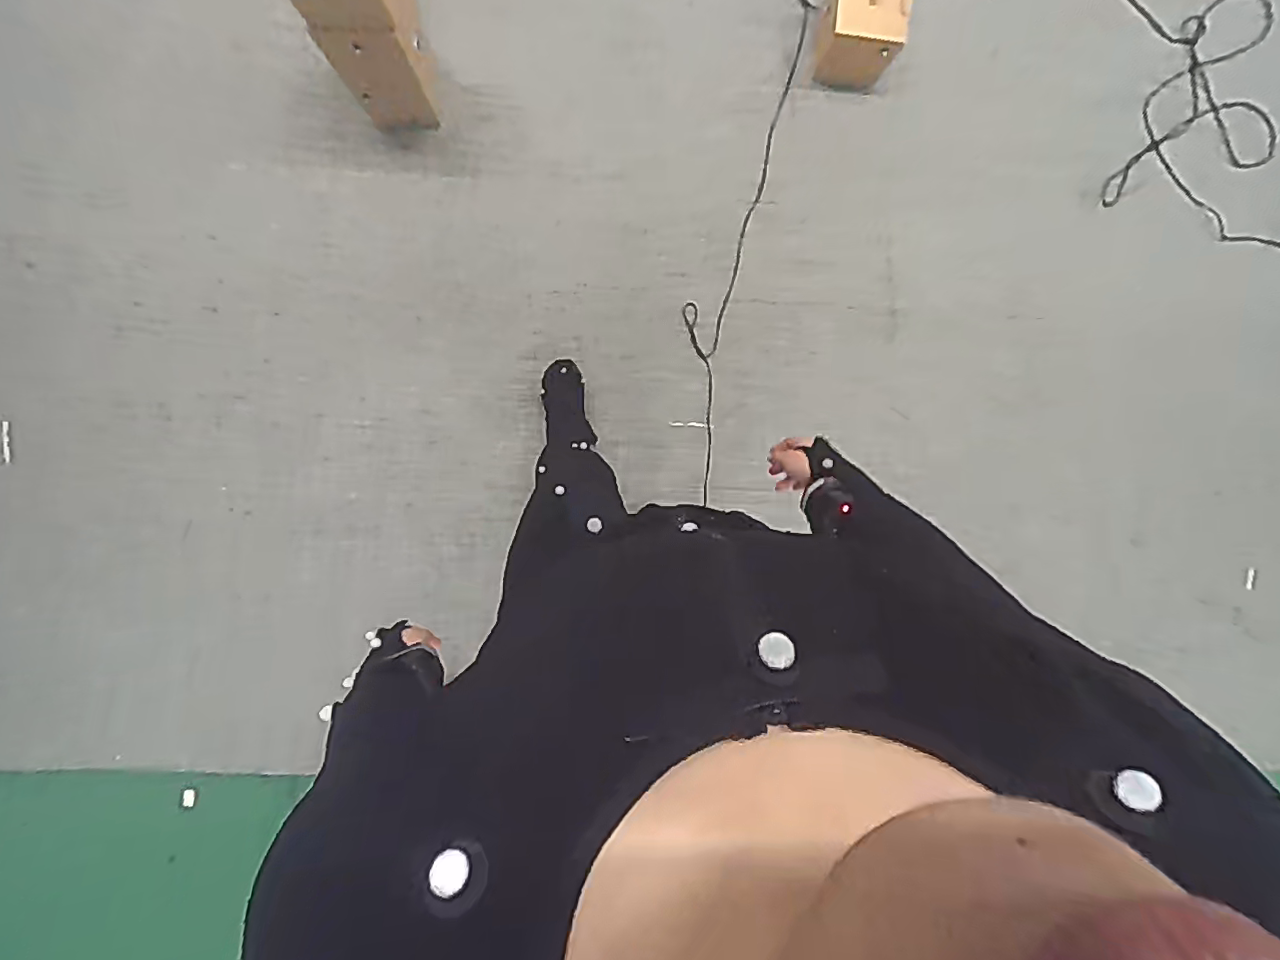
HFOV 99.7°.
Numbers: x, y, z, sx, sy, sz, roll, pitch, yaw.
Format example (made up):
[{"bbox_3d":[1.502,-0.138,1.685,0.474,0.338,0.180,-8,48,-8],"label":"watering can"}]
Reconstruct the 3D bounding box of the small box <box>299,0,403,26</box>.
[{"bbox_3d":[-0.542,-0.954,0.959,0.179,0.176,0.168,0,95,-3],"label":"small box"}]

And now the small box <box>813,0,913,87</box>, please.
[{"bbox_3d":[0.545,-1.114,1.335,0.179,0.176,0.168,4,94,-5],"label":"small box"}]

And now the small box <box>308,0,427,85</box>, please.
[{"bbox_3d":[-0.558,-0.959,1.122,0.179,0.176,0.168,0,95,-5],"label":"small box"}]
